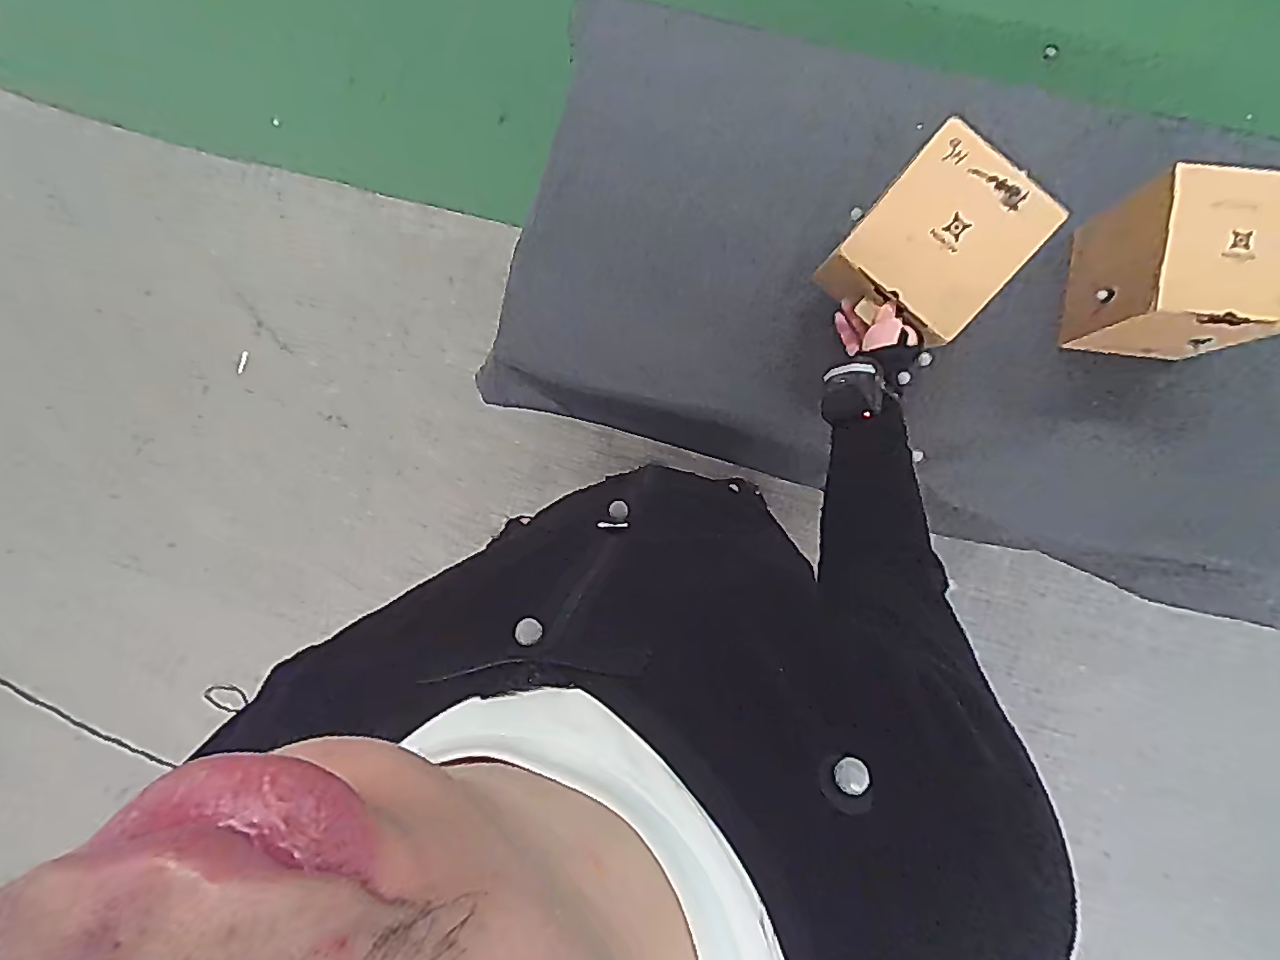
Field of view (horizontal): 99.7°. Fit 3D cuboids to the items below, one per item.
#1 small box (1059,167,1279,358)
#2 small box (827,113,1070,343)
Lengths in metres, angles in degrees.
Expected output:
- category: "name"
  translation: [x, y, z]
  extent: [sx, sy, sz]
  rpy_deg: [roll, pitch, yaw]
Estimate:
- category: "small box"
  translation: [0.692, -0.268, 0.704]
  extent: [0.168, 0.176, 0.179]
  rpy_deg: [8, 89, 3]
- category: "small box"
  translation: [0.351, -0.285, 0.663]
  extent: [0.168, 0.176, 0.179]
  rpy_deg: [41, 104, 0]
